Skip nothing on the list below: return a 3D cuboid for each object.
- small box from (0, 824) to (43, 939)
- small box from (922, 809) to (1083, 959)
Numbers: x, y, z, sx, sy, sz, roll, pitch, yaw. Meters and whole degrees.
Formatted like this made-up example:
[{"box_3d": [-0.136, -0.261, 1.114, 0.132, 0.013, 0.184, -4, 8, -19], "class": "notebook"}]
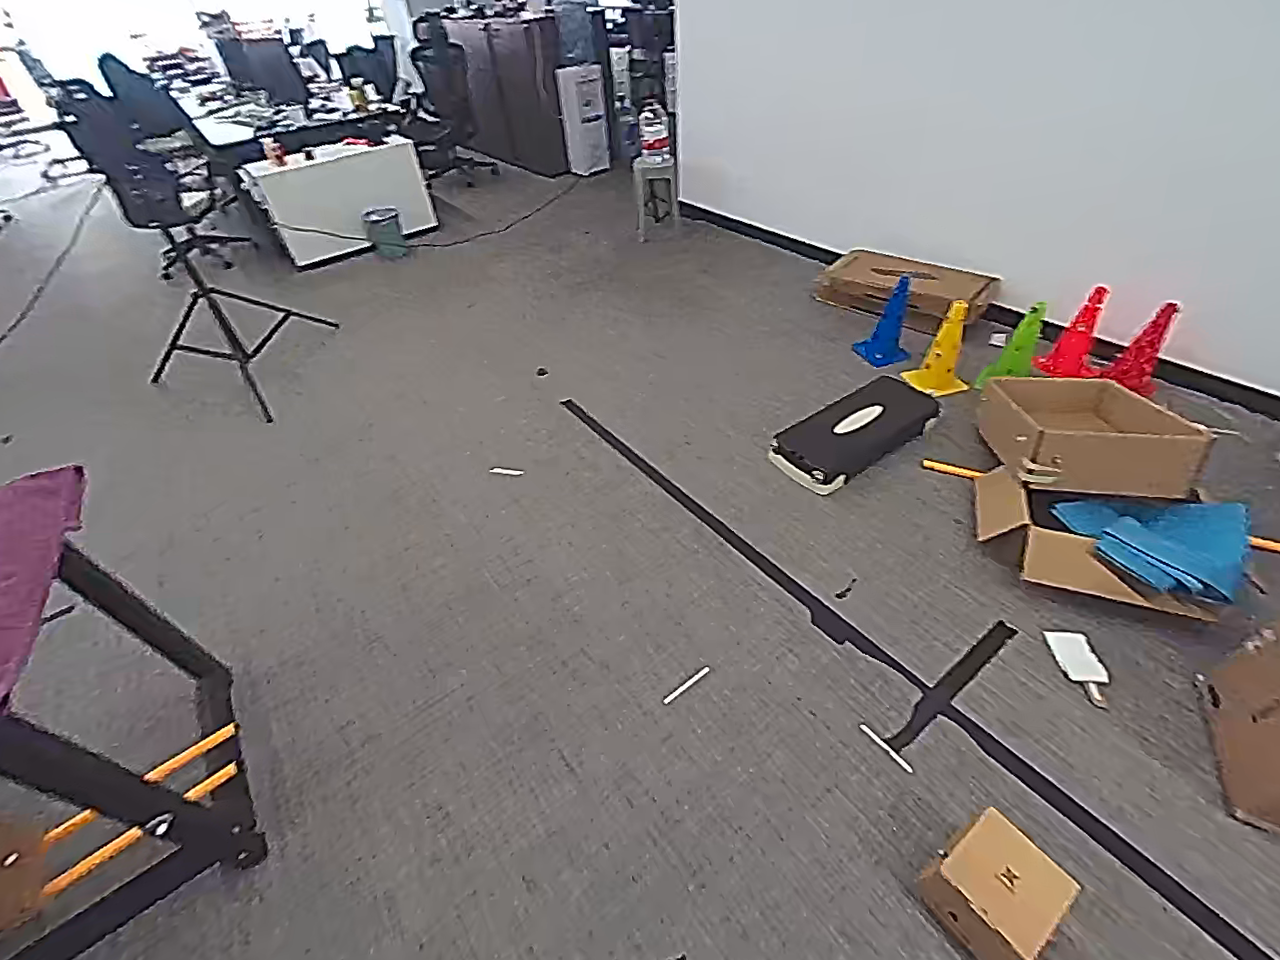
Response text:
[{"box_3d": [-1.306, 0.793, 1.031, 0.168, 0.176, 0.179, -32, 53, -24], "class": "small box"}, {"box_3d": [0.669, 0.771, 1.019, 0.179, 0.176, 0.168, -30, 49, -23], "class": "small box"}]
